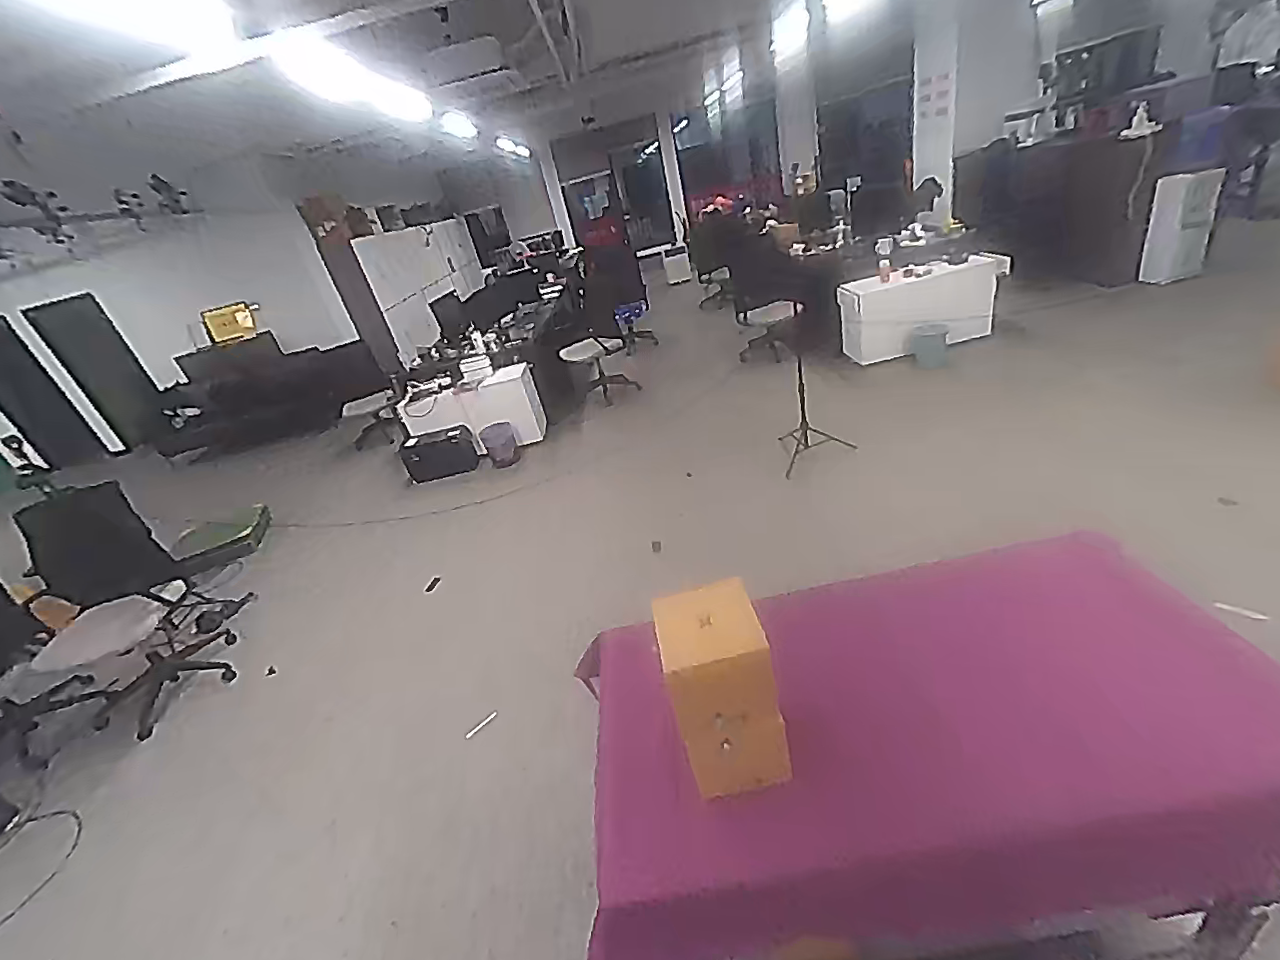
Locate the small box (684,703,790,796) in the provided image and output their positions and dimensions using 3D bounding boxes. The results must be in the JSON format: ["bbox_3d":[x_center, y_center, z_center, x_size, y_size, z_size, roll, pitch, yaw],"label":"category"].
[{"bbox_3d":[0.166,0.437,0.995,0.168,0.176,0.179,-14,28,3],"label":"small box"}]

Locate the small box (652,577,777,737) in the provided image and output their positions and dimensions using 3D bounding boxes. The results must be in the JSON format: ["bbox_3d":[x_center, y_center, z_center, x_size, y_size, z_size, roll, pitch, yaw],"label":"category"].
[{"bbox_3d":[0.124,0.298,0.920,0.168,0.176,0.179,-14,28,1],"label":"small box"}]
